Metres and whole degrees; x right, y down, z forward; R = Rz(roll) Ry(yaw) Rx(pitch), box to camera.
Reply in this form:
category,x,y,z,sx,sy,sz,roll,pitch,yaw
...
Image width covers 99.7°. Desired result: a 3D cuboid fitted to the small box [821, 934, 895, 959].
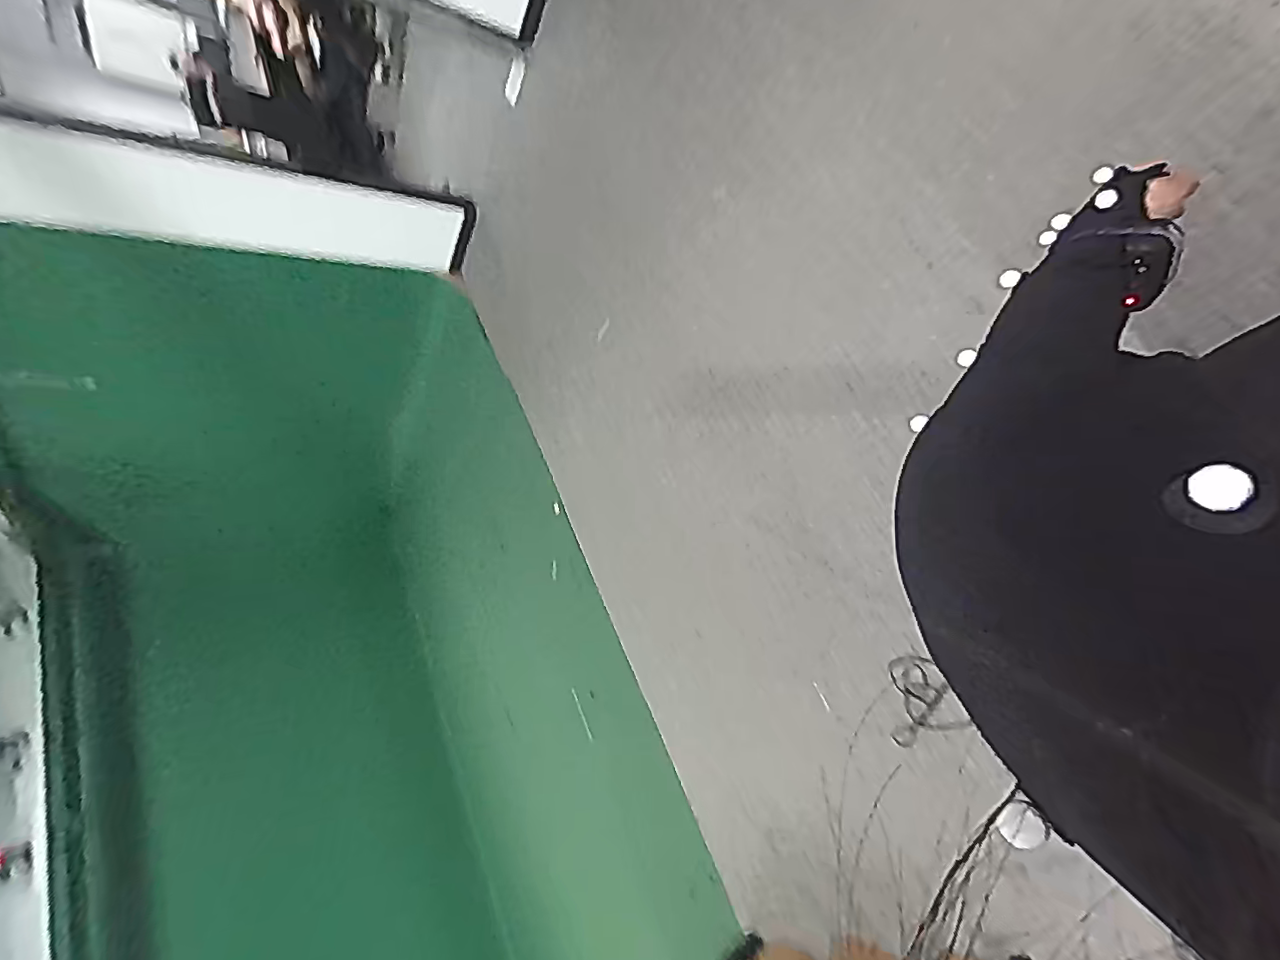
category,x,y,z,sx,sy,sz,roll,pitch,yaw
small box,0.705,1.605,1.719,0.179,0.176,0.168,-18,84,49

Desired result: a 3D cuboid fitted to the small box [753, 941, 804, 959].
category,x,y,z,sx,sy,sz,roll,pitch,yaw
small box,0.517,1.848,1.986,0.179,0.176,0.168,-40,66,47

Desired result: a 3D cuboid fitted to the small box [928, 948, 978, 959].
category,x,y,z,sx,sy,sz,roll,pitch,yaw
small box,0.885,1.436,1.475,0.179,0.176,0.168,-30,74,47
